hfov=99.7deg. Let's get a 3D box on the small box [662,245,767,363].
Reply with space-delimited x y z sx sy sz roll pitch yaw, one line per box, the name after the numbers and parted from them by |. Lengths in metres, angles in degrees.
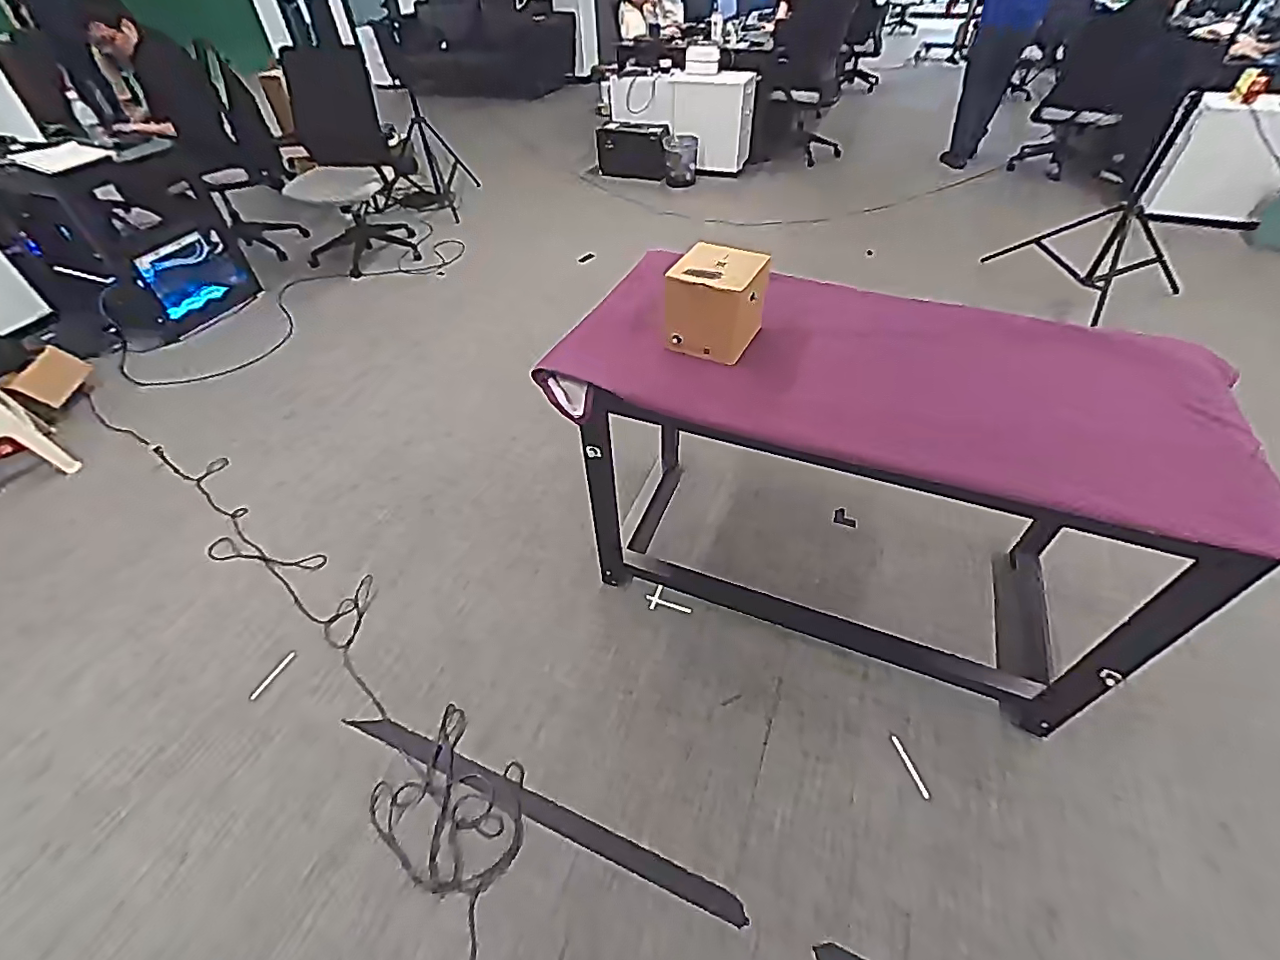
0.159 -0.375 1.158 0.168 0.176 0.179 20 50 20 | small box
